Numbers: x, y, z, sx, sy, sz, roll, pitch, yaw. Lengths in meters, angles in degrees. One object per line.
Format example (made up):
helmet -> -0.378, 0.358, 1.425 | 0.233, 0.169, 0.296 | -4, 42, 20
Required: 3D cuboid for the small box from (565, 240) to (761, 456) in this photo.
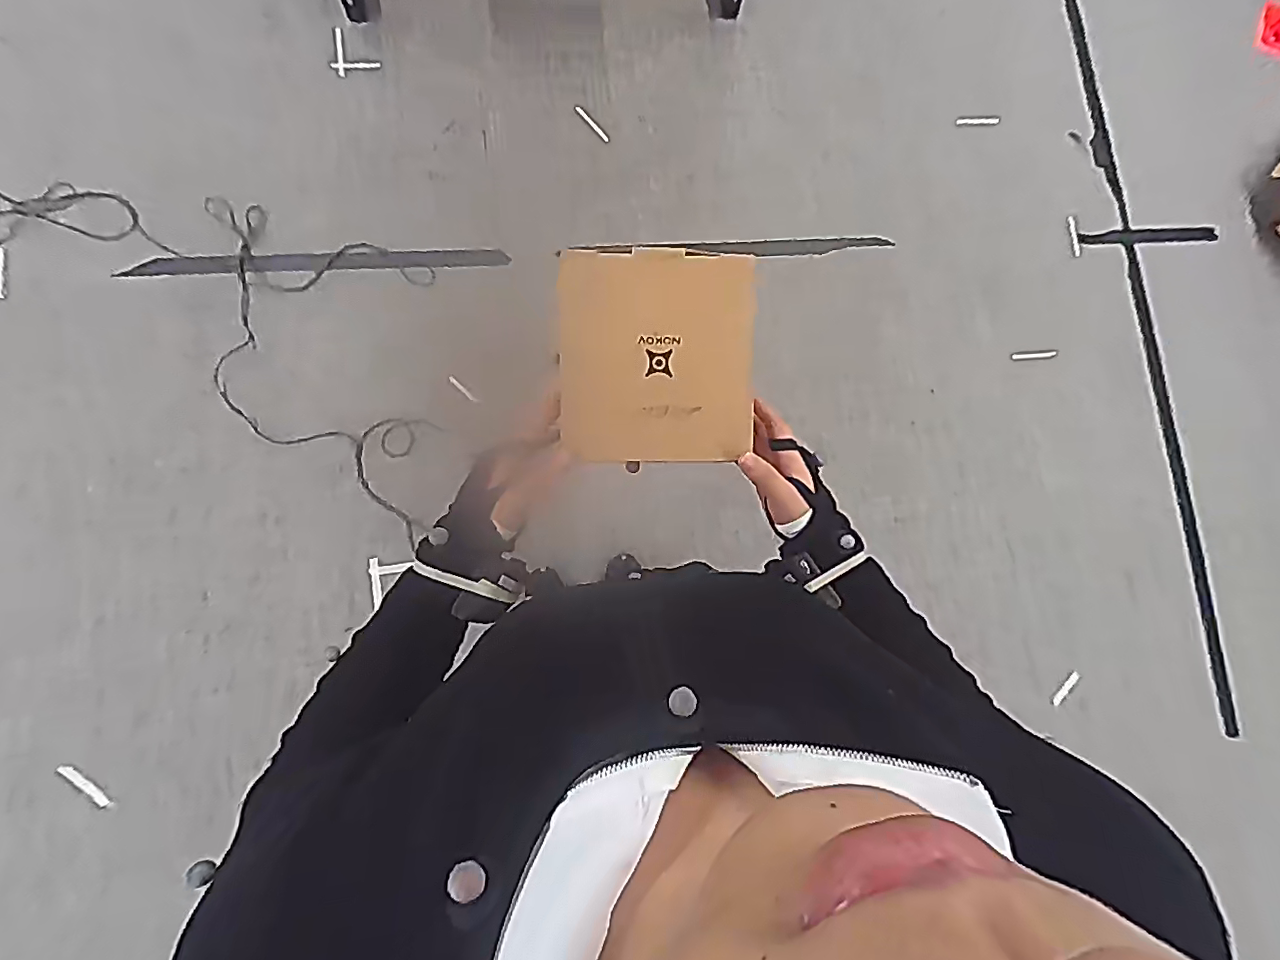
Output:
small box -> 0.012, -0.114, 0.530 | 0.168, 0.176, 0.179 | 0, 95, -4
